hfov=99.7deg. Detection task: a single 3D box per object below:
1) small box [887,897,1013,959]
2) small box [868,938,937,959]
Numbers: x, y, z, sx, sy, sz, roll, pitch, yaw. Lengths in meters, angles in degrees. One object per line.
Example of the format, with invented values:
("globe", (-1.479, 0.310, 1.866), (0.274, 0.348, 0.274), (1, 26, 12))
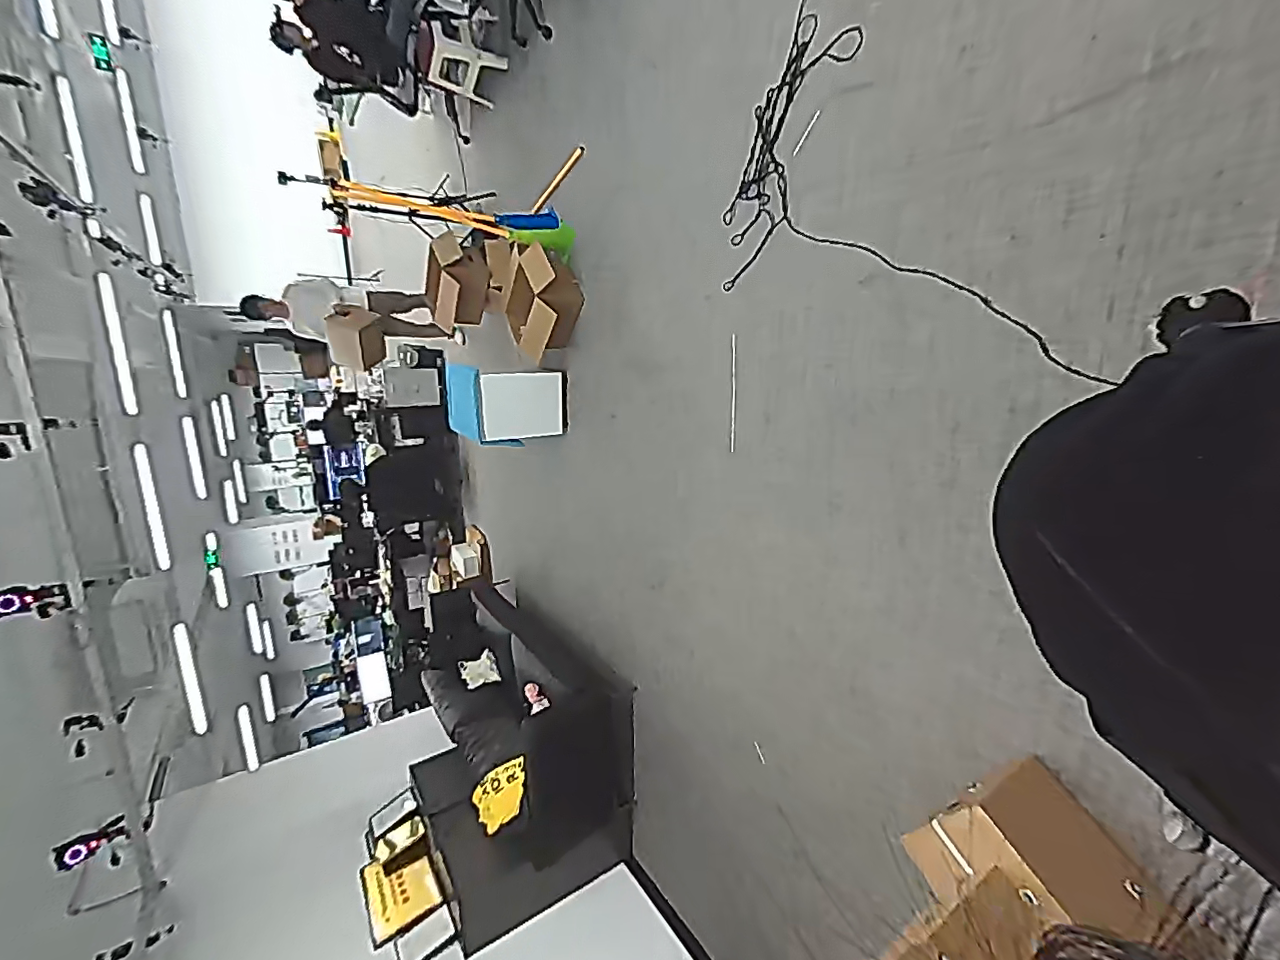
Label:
("small box", (0.657, 1.020, 1.122), (0.179, 0.176, 0.168), (56, 141, 36))
("small box", (0.511, 1.034, 1.044), (0.168, 0.176, 0.179), (56, 140, 37))
